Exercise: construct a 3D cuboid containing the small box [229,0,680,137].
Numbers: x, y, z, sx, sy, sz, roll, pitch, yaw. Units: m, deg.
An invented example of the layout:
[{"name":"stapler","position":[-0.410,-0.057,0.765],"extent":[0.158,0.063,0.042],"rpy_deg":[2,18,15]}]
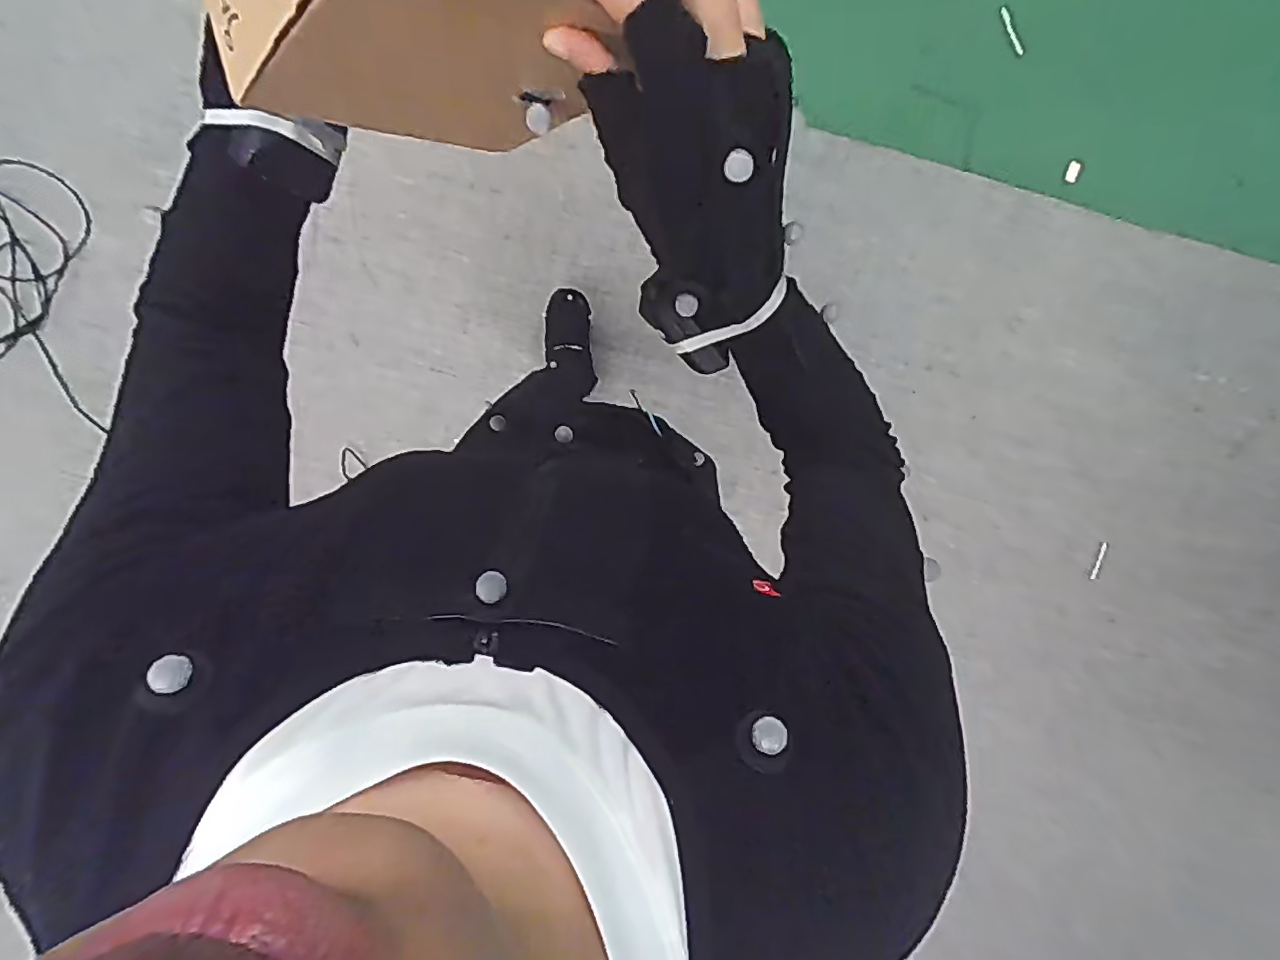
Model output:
[{"name":"small box","position":[-0.092,-0.293,0.262],"extent":[0.179,0.176,0.168],"rpy_deg":[7,111,40]}]
